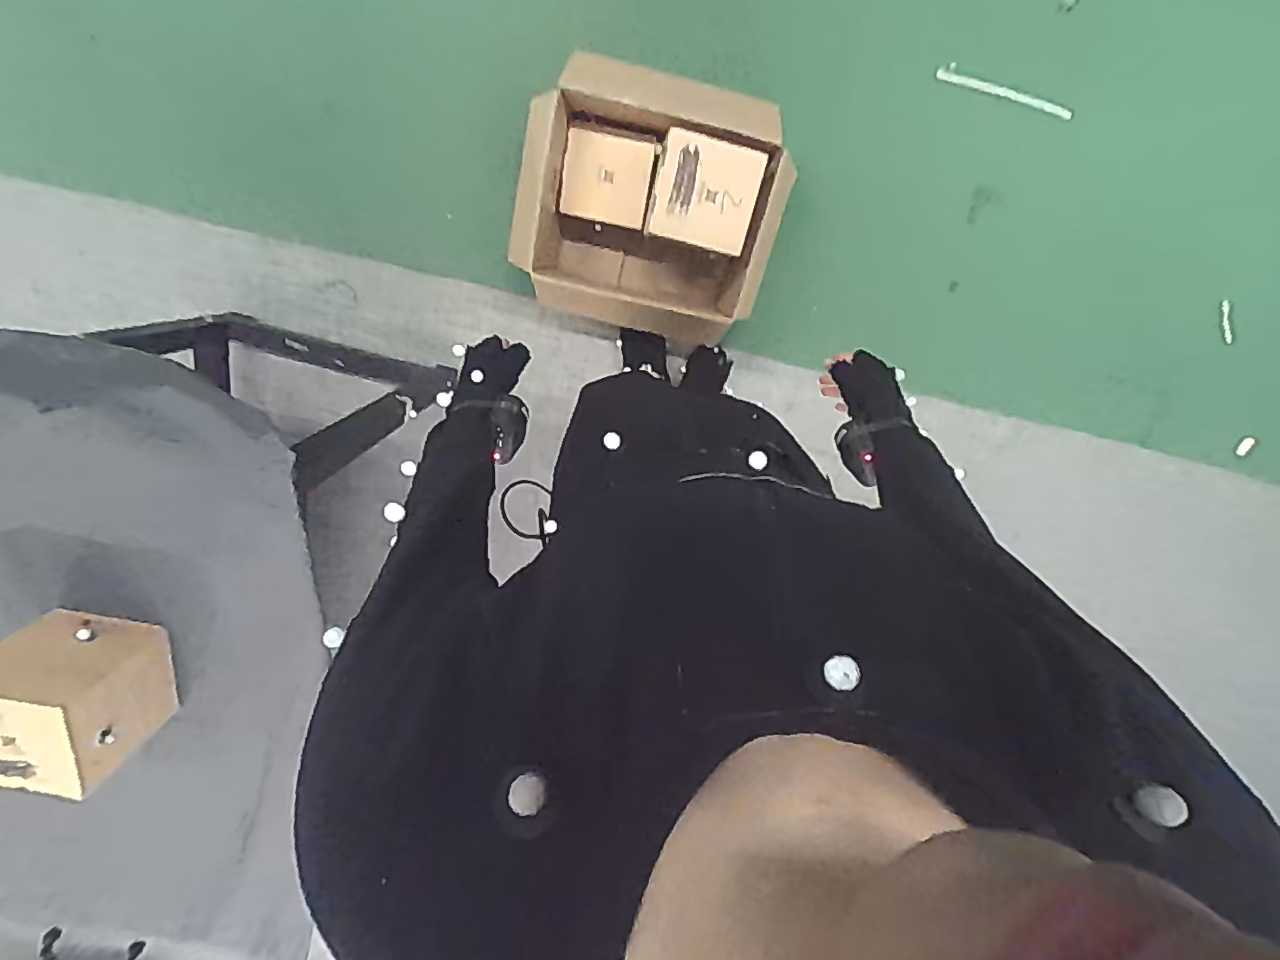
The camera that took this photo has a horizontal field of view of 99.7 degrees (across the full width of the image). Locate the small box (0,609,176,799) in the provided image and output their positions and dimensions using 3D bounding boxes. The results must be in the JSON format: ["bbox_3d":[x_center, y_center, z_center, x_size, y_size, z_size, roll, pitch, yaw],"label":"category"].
[{"bbox_3d":[-0.830,0.320,0.791,0.168,0.176,0.179,12,112,-4],"label":"small box"}]
